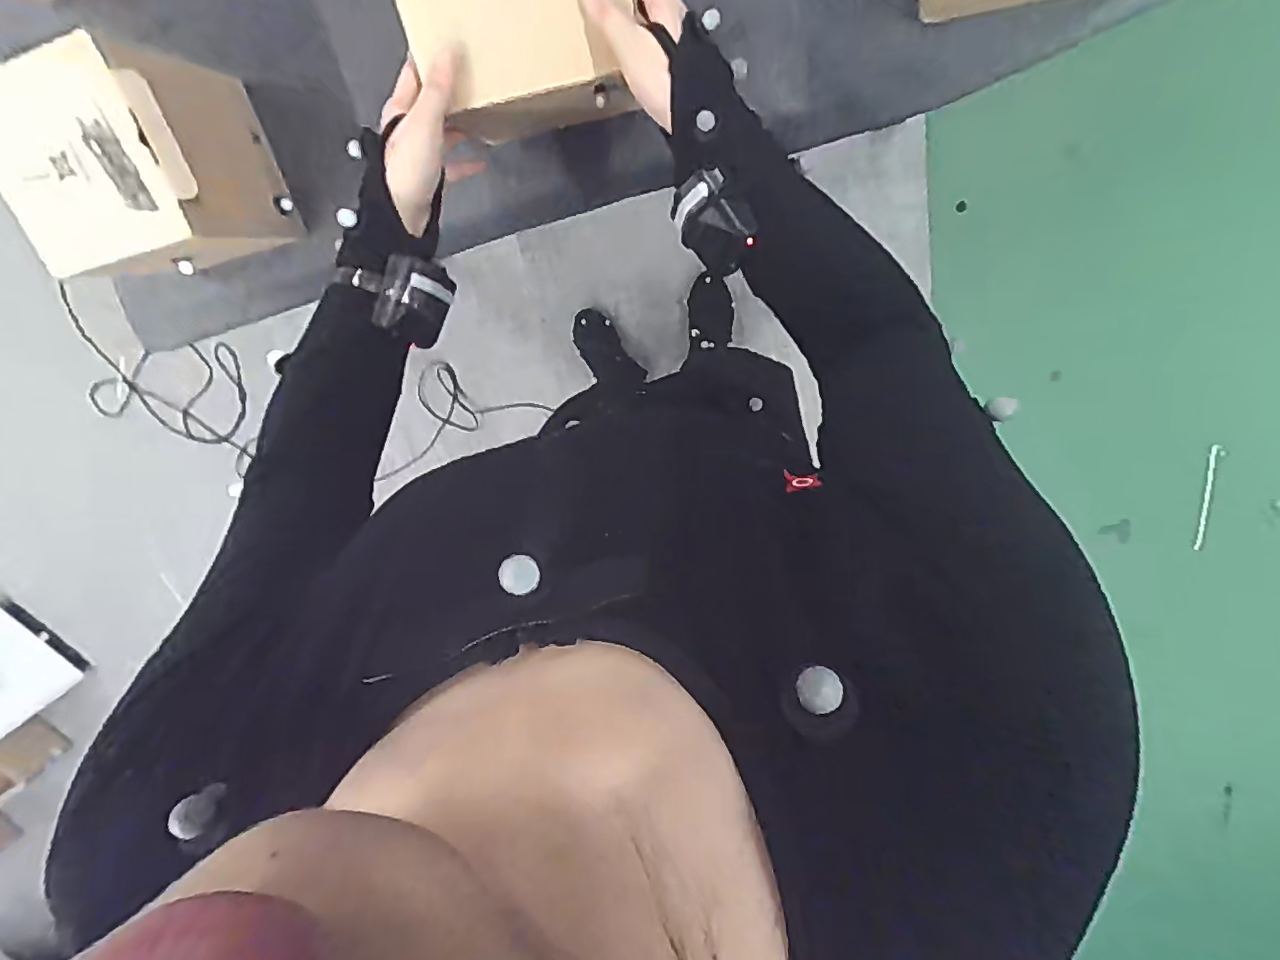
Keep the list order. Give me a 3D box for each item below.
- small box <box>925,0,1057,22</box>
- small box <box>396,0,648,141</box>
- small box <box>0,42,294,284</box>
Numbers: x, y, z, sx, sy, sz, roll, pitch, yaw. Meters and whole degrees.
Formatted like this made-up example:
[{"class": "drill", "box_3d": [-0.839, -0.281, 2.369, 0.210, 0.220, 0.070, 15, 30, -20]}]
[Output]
[{"class": "small box", "box_3d": [0.332, -0.487, 0.403, 0.179, 0.176, 0.168, -6, 109, 9]}, {"class": "small box", "box_3d": [-0.093, -0.401, 0.450, 0.179, 0.176, 0.168, -11, 116, 5]}, {"class": "small box", "box_3d": [-0.511, -0.317, 0.571, 0.179, 0.176, 0.168, -10, 113, 11]}]
